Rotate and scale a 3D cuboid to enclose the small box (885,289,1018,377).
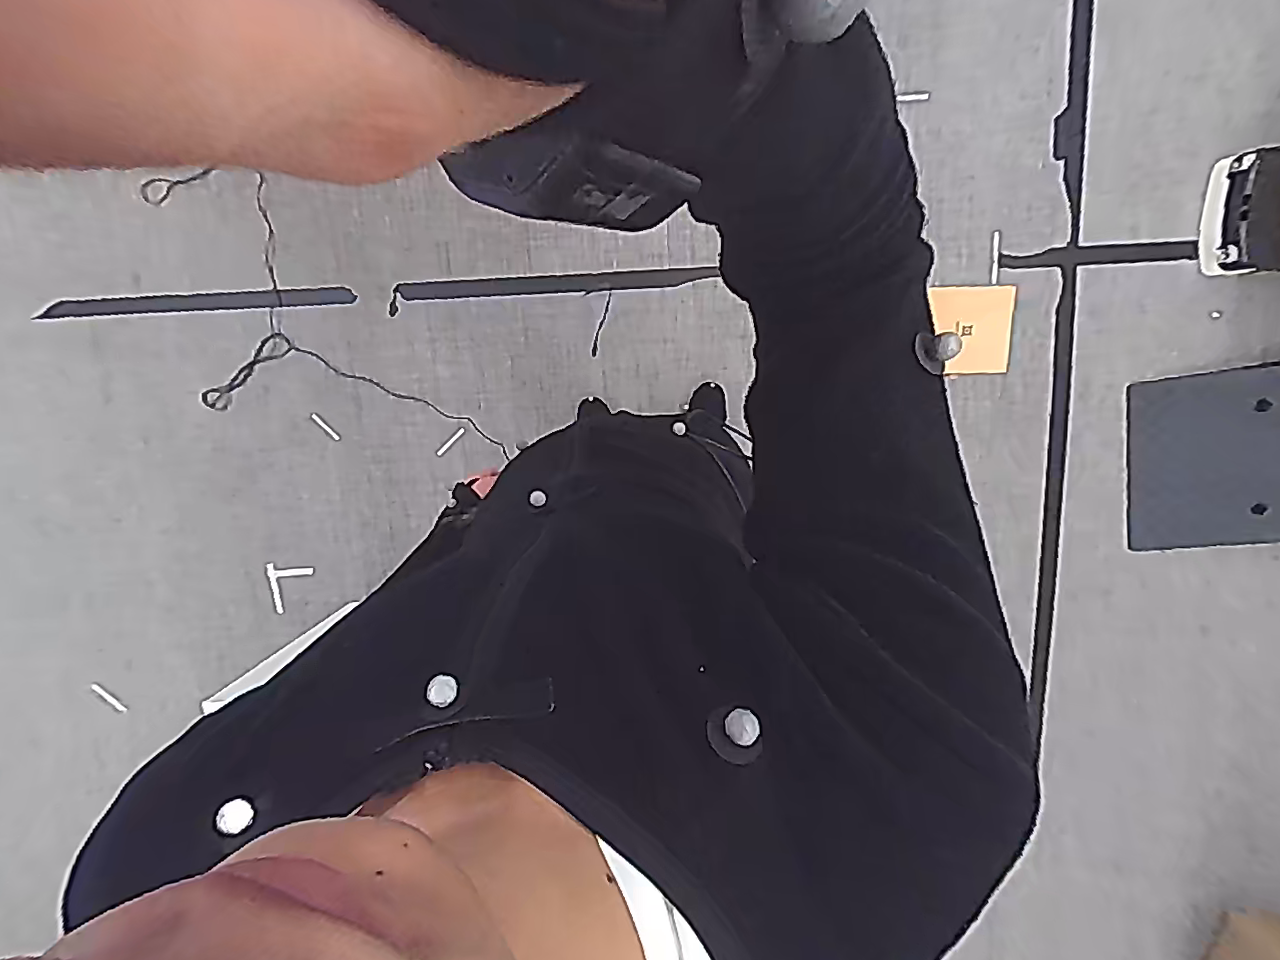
[{"bbox_3d":[0.634,-0.300,1.121,0.179,0.176,0.168,0,101,4],"label":"small box"}]
